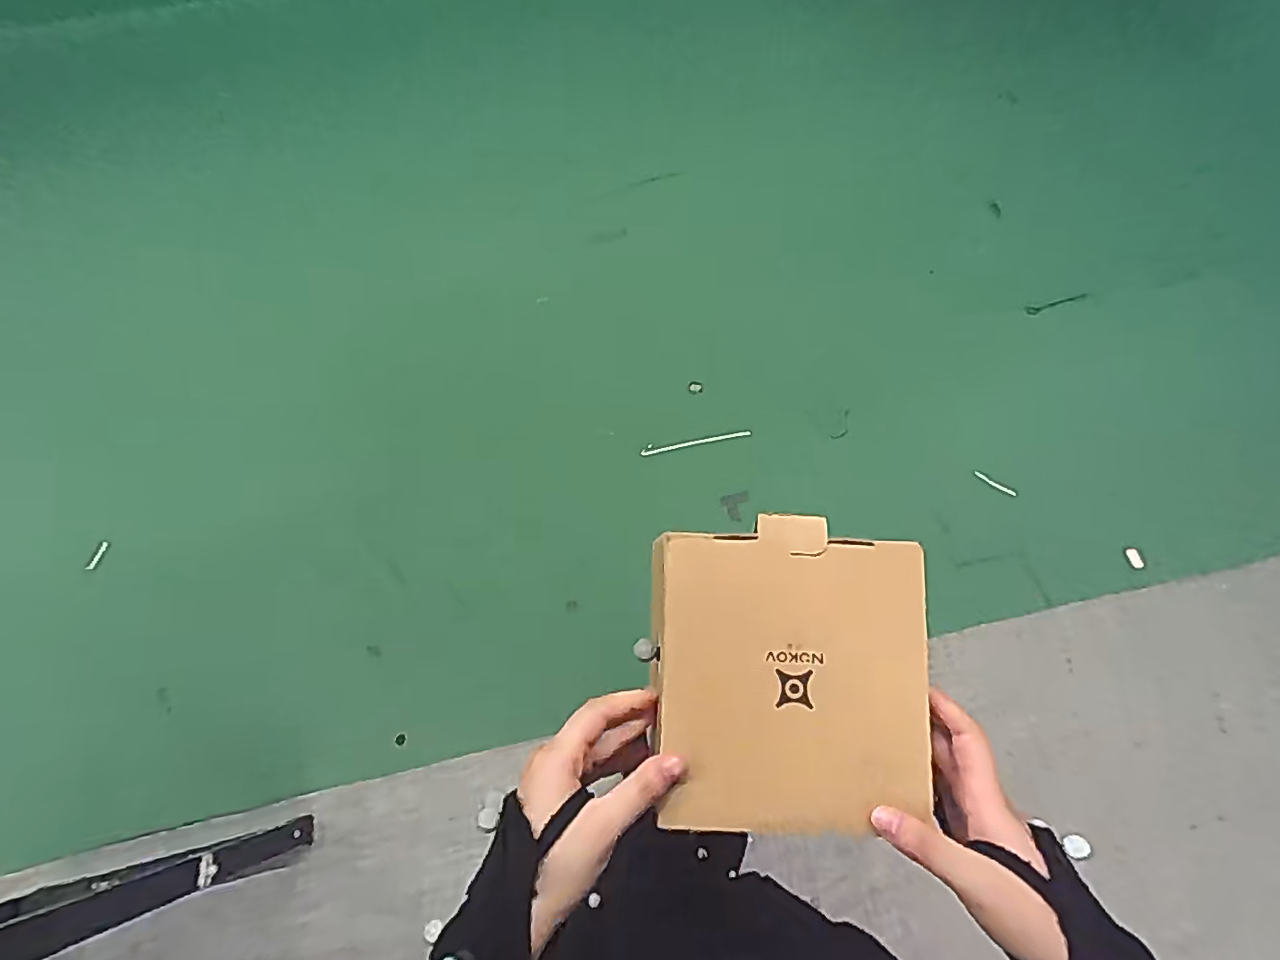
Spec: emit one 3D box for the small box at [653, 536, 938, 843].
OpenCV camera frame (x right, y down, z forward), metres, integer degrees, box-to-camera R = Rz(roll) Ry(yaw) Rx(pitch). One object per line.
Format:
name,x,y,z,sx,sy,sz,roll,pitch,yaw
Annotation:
small box,0.097,0.135,0.408,0.168,0.176,0.179,2,81,0
